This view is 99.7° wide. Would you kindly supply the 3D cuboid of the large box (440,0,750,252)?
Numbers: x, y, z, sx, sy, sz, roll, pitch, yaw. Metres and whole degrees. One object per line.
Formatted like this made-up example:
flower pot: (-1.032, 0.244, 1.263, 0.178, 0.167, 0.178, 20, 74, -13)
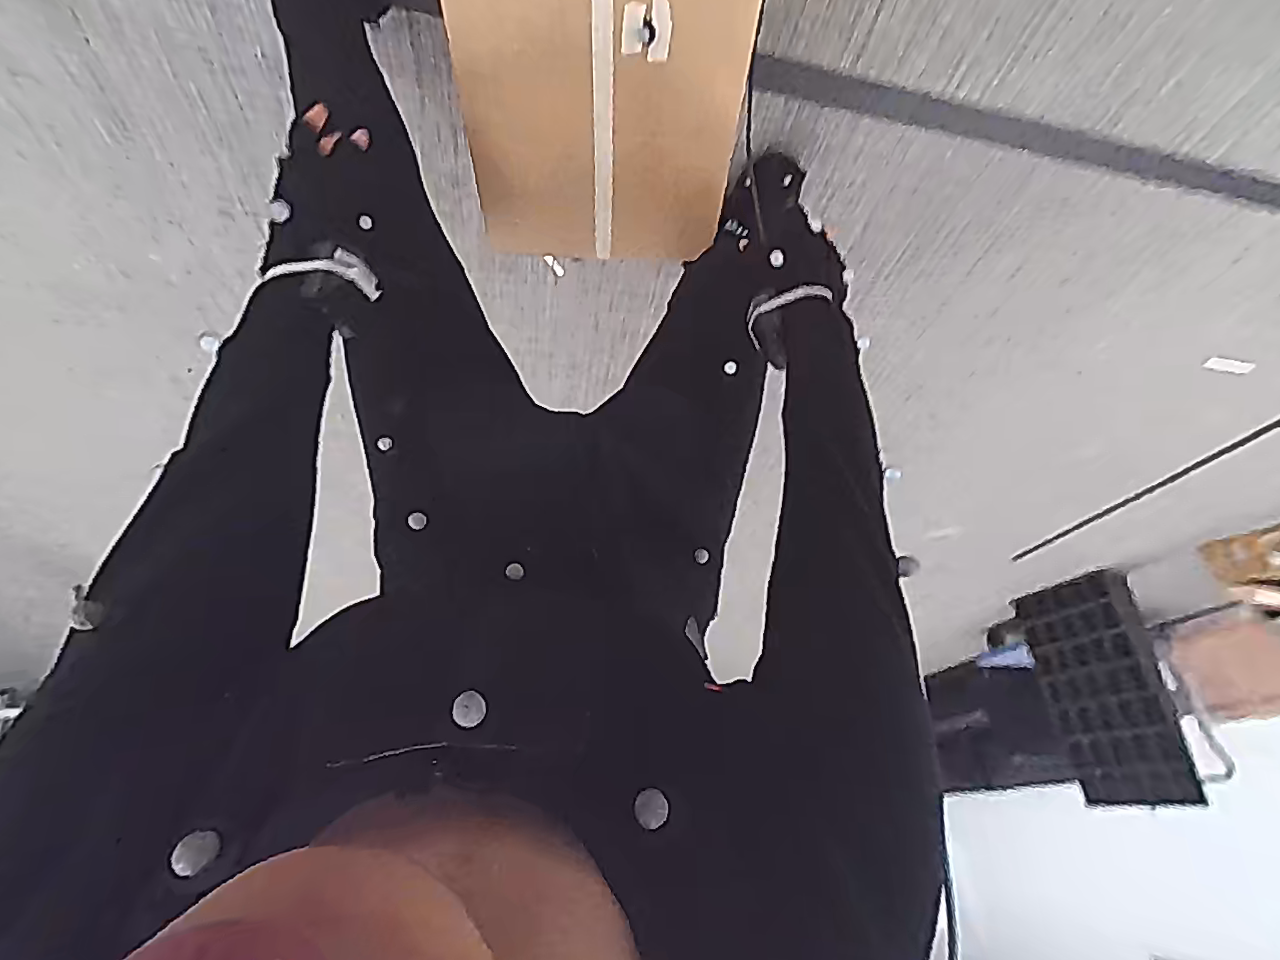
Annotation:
large box: (-0.048, -0.561, 0.680, 0.320, 0.320, 0.408, 2, 147, -3)
